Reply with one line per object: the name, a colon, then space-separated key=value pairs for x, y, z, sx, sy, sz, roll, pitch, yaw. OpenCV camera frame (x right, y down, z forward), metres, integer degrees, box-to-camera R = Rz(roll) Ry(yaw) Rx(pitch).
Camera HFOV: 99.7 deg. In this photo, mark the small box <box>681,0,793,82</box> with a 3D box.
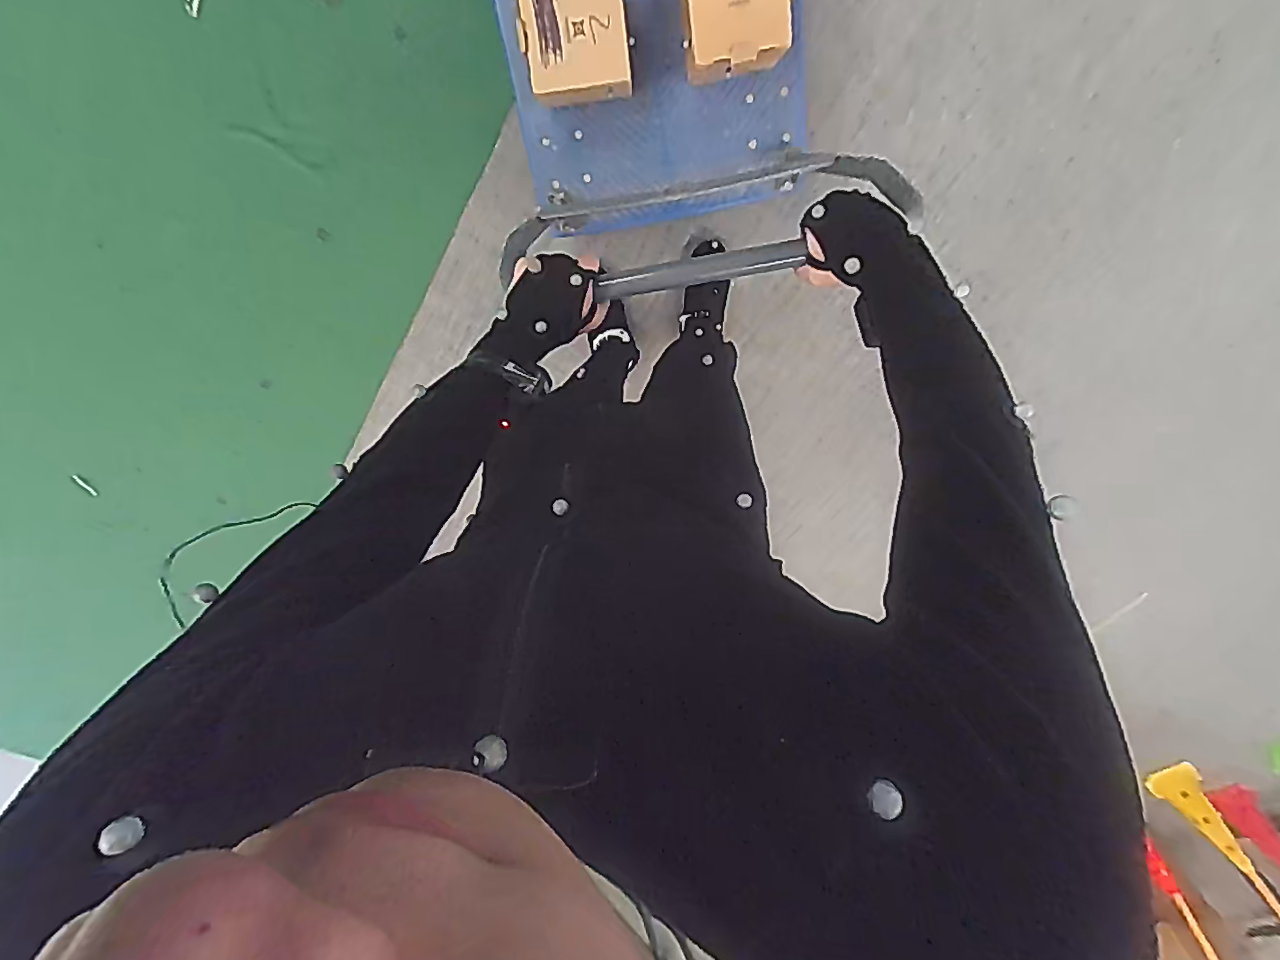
small box: x=0.163 y=-0.829 z=0.945 sx=0.168 sy=0.176 sz=0.179 roll=-9 pitch=119 yaw=6
